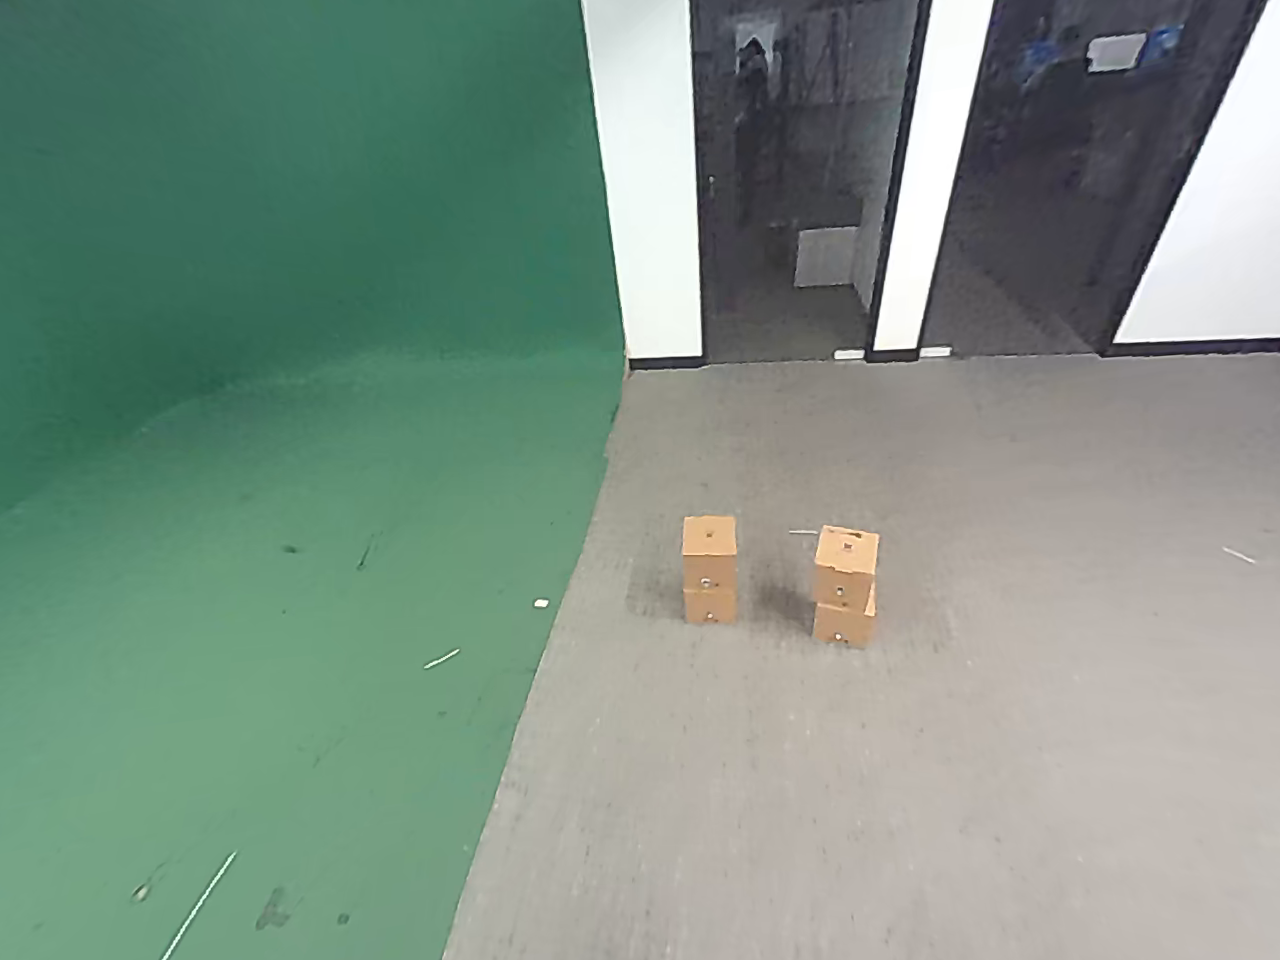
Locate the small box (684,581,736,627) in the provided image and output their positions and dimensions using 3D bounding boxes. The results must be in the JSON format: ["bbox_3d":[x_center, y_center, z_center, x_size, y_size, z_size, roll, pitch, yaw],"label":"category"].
[{"bbox_3d":[0.236,0.376,1.832,0.168,0.176,0.179,-1,37,7],"label":"small box"}]

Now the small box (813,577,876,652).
[{"bbox_3d":[0.647,0.413,1.717,0.168,0.176,0.179,7,40,19],"label":"small box"}]

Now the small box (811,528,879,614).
[{"bbox_3d":[0.615,0.276,1.632,0.168,0.176,0.179,10,41,21],"label":"small box"}]

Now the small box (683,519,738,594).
[{"bbox_3d":[0.227,0.245,1.738,0.168,0.176,0.179,-2,38,8],"label":"small box"}]
